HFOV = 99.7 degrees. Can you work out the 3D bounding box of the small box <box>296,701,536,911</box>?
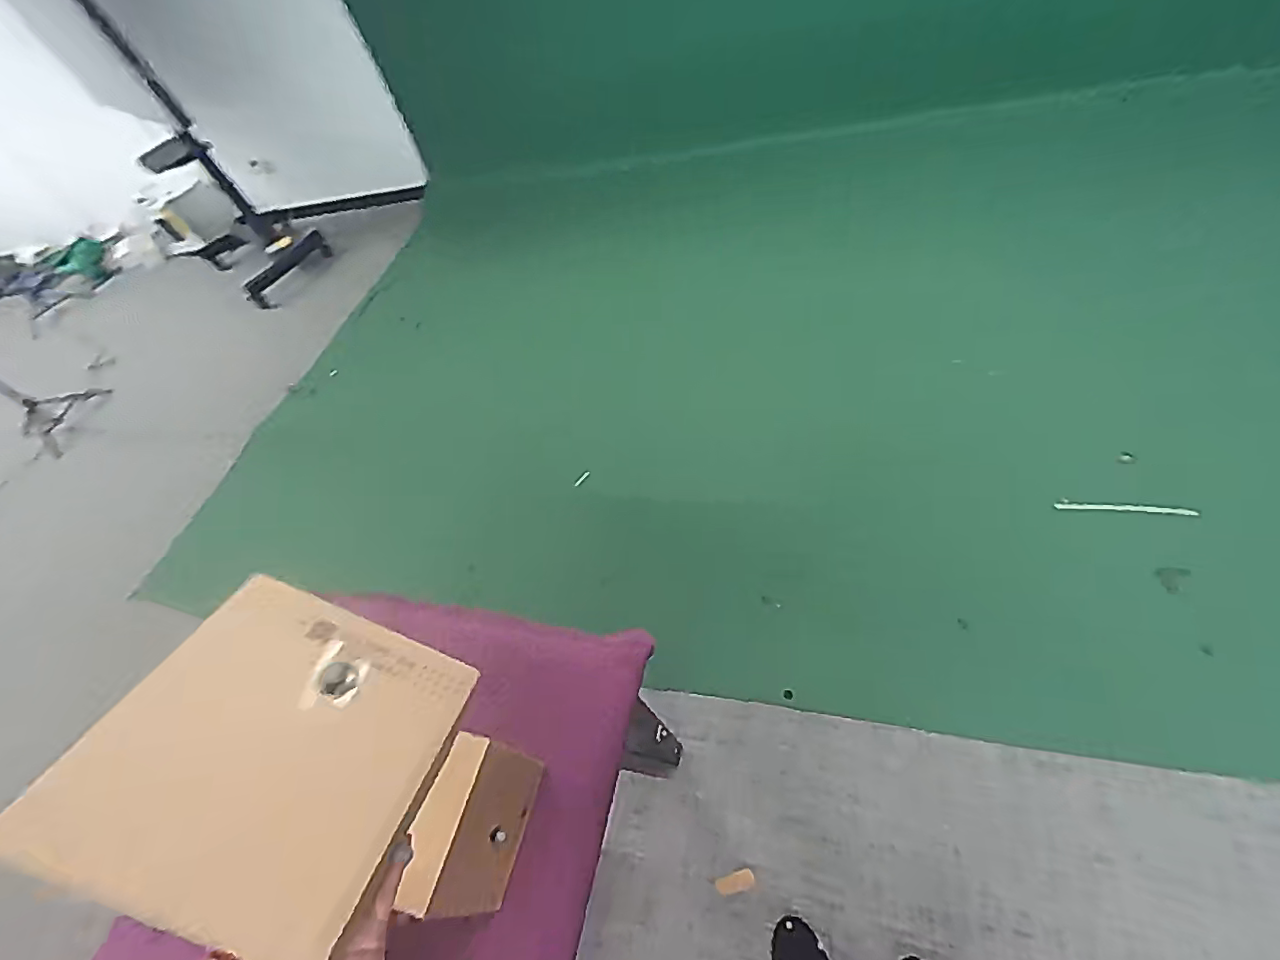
[{"bbox_3d":[-0.251,0.389,0.656,0.179,0.176,0.168,5,56,20],"label":"small box"}]
